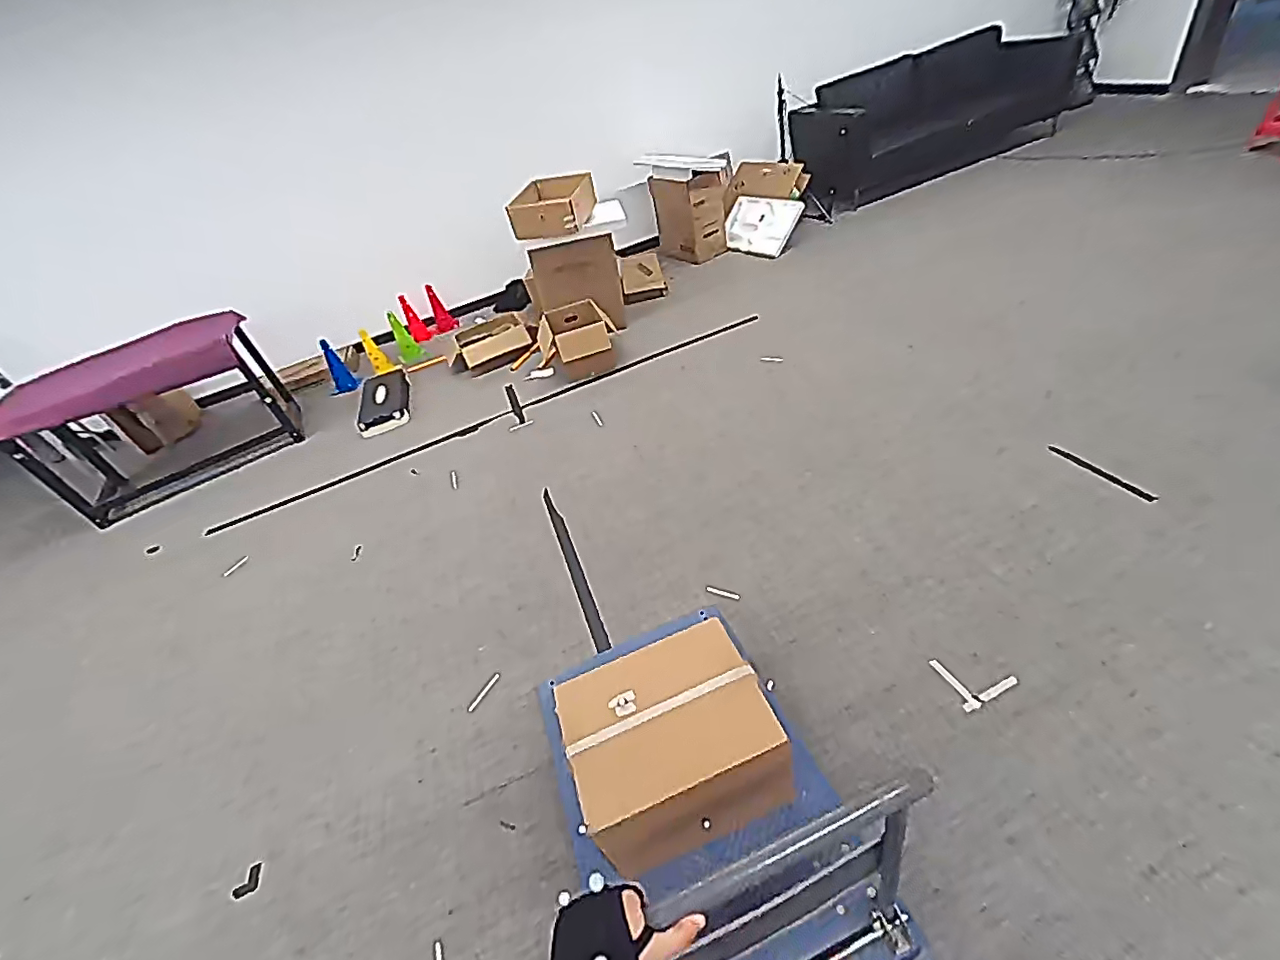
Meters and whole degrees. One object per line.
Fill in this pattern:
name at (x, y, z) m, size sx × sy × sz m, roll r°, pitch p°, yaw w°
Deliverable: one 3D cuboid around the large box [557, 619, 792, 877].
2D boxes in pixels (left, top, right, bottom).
large box at (0.079, 0.589, 1.205) m, size 0.408 × 0.320 × 0.320 m, roll -23°, pitch 38°, yaw -6°
